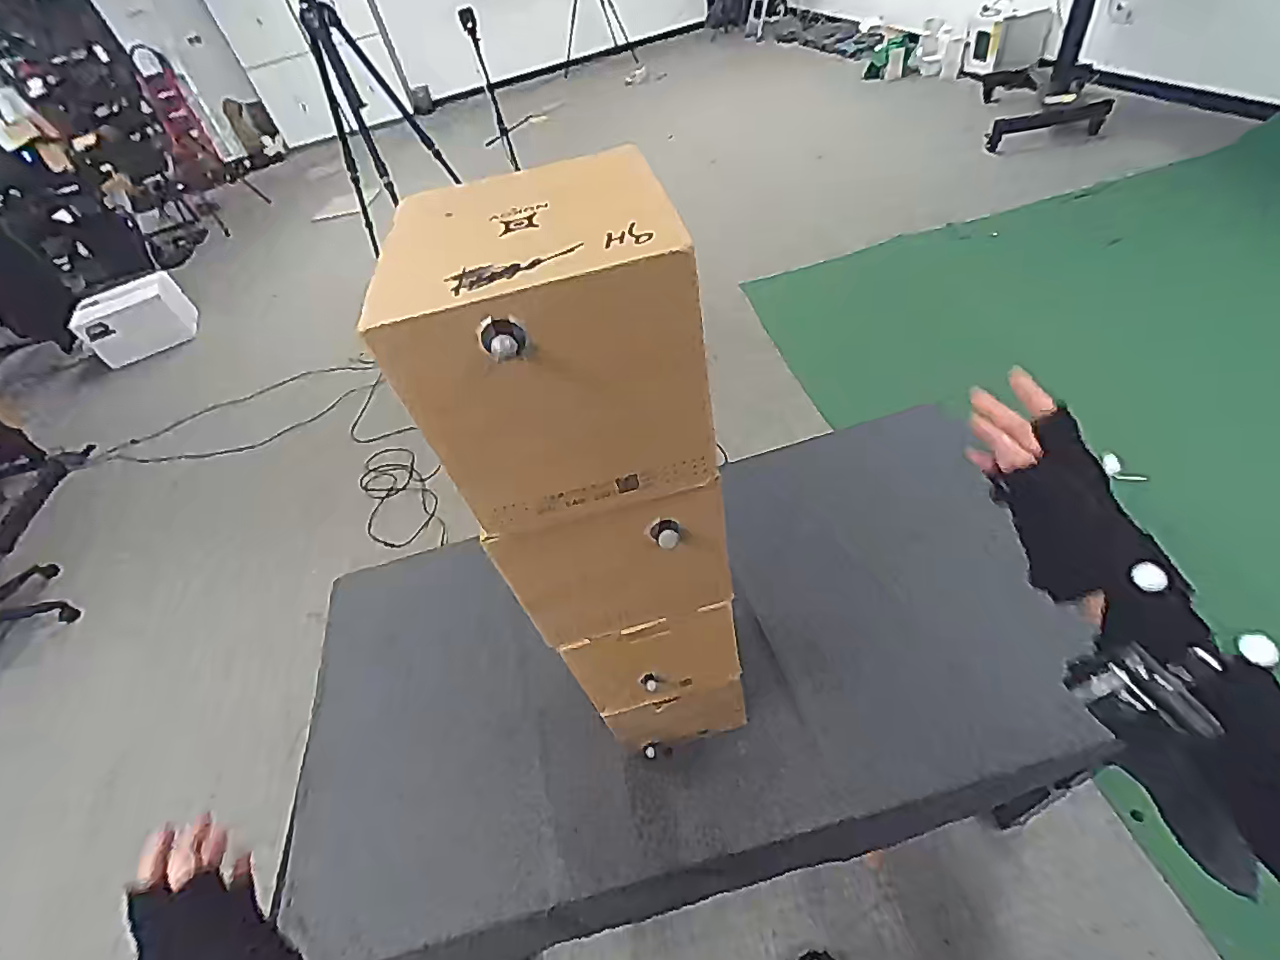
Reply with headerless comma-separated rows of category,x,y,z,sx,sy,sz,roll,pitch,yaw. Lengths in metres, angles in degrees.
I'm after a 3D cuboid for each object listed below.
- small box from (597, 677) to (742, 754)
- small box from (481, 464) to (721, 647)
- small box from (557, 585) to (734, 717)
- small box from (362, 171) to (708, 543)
small box,0.032,0.246,0.730,0.168,0.176,0.179,-17,44,0
small box,-0.029,0.027,0.495,0.179,0.176,0.168,-15,45,1
small box,0.001,0.137,0.614,0.168,0.176,0.179,-16,46,0
small box,-0.056,-0.085,0.379,0.168,0.176,0.179,-14,45,1
